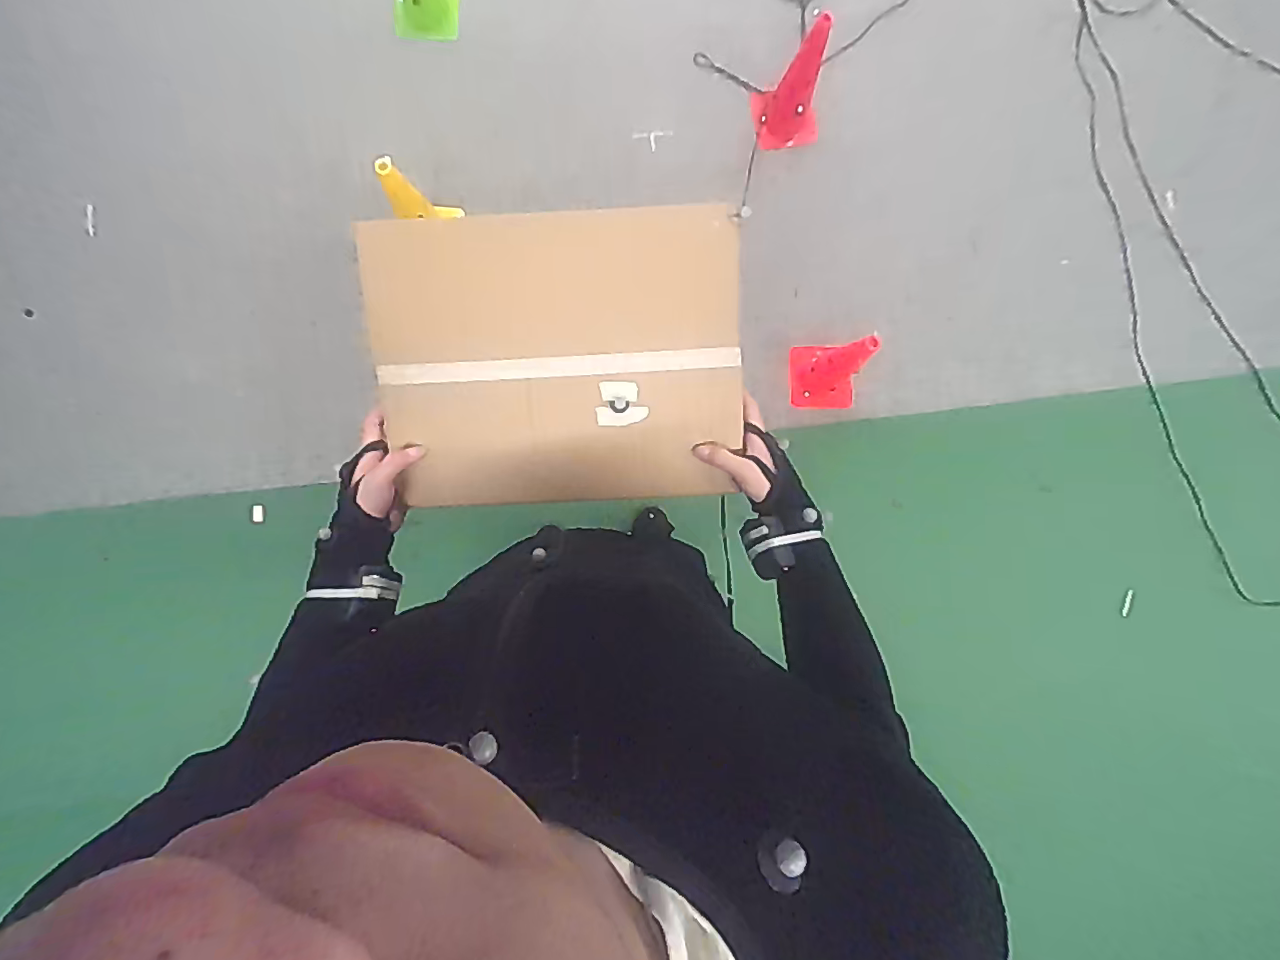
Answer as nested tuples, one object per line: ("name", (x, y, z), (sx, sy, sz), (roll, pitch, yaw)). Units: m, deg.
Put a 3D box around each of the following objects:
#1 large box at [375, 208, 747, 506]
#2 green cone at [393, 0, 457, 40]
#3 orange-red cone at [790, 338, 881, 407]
("large box", (-0.083, -0.161, 0.756), (0.408, 0.320, 0.320), (-3, 103, 0))
("green cone", (-0.679, -1.508, 1.550), (0.200, 0.368, 0.202), (-1, 88, -2))
("orange-red cone", (0.584, -0.336, 1.539), (0.199, 0.360, 0.198), (1, 88, -4))
